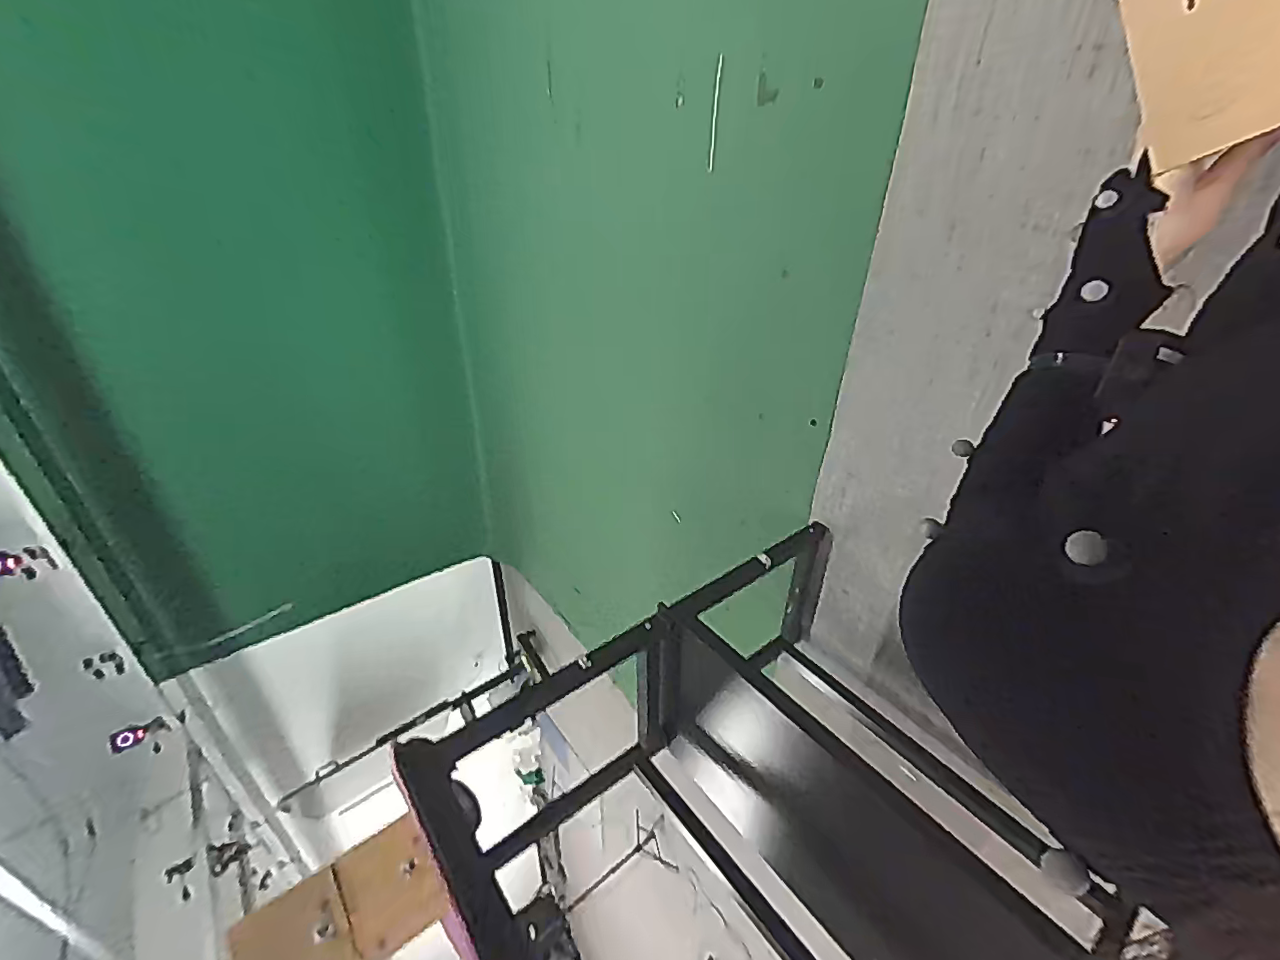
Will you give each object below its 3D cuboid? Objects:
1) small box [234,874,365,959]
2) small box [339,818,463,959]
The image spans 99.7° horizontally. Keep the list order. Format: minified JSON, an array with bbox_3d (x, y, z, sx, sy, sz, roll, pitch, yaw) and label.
[{"bbox_3d":[-0.582,0.855,0.962,0.168,0.176,0.179,43,138,30],"label":"small box"},{"bbox_3d":[-0.457,0.811,1.055,0.168,0.176,0.179,42,138,34],"label":"small box"}]
